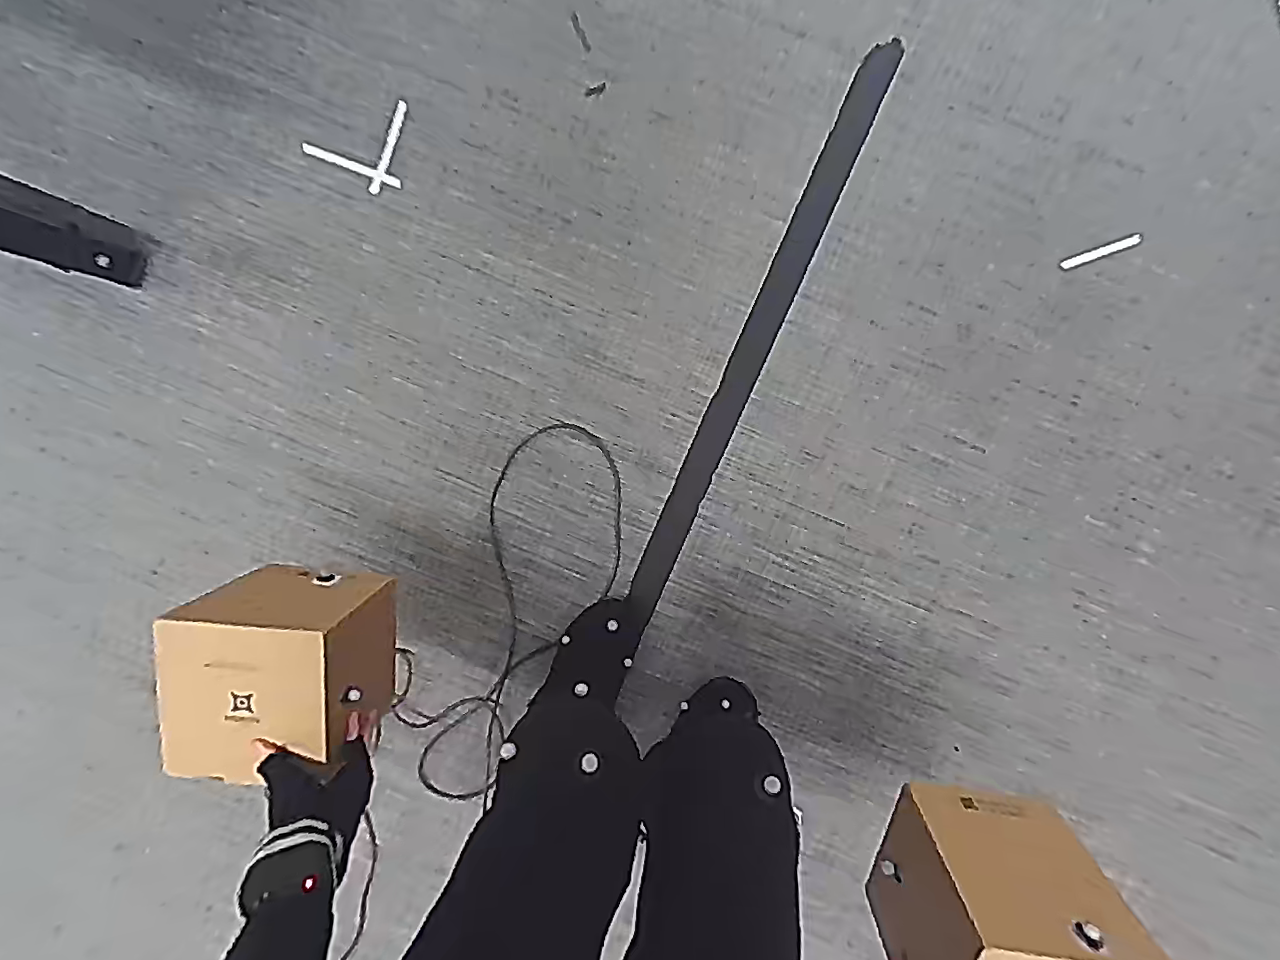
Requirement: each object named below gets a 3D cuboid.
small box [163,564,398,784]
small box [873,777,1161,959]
[{"bbox_3d":[-0.396,0.213,0.627,0.168,0.176,0.179,4,99,-1],"label":"small box"},{"bbox_3d":[0.358,0.447,0.551,0.168,0.176,0.179,8,108,2],"label":"small box"}]
